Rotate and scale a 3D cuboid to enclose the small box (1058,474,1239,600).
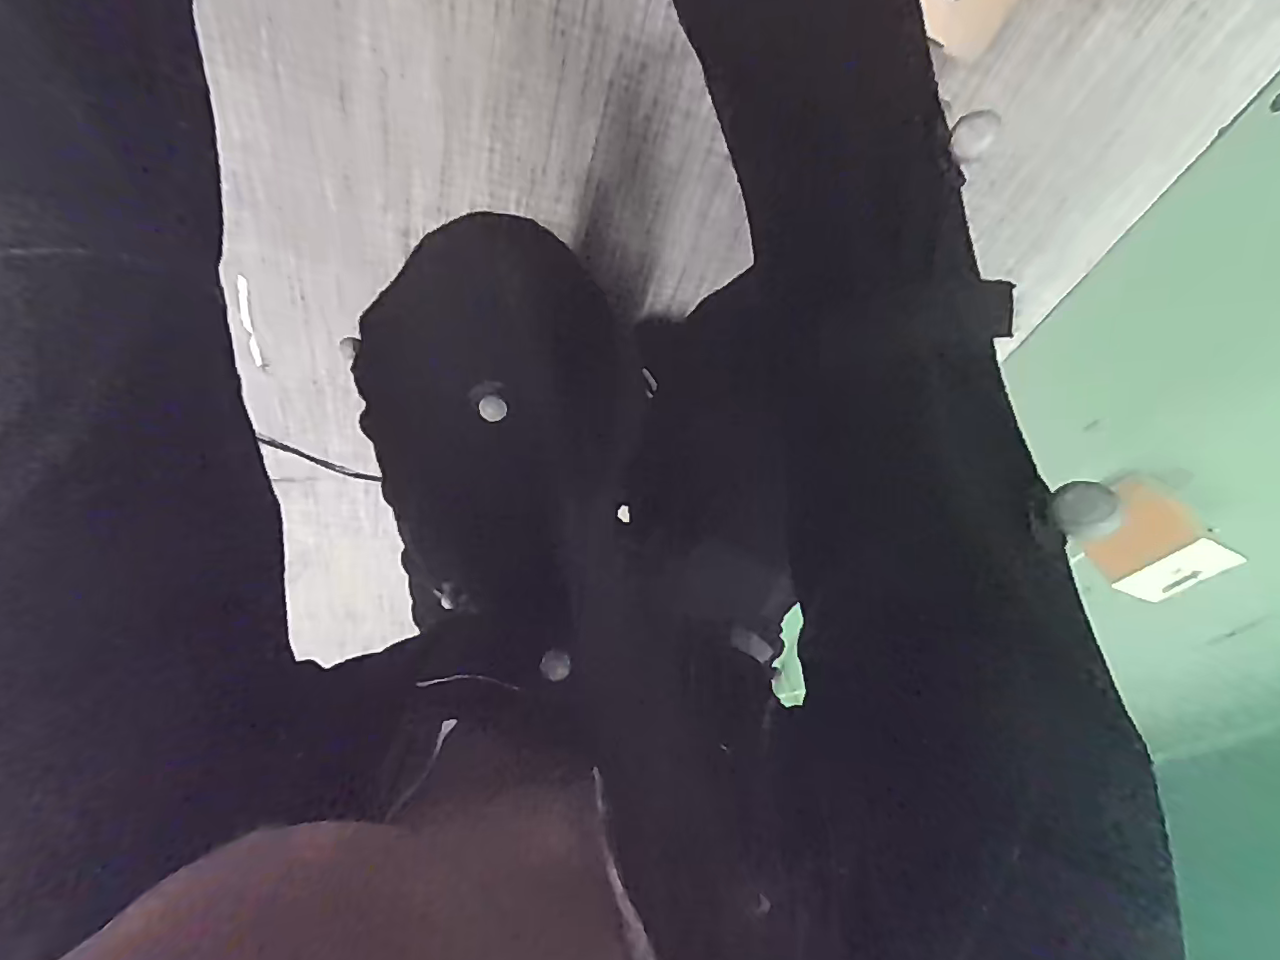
[{"bbox_3d":[0.994,0.113,1.071,0.179,0.176,0.168,17,131,-24],"label":"small box"}]
